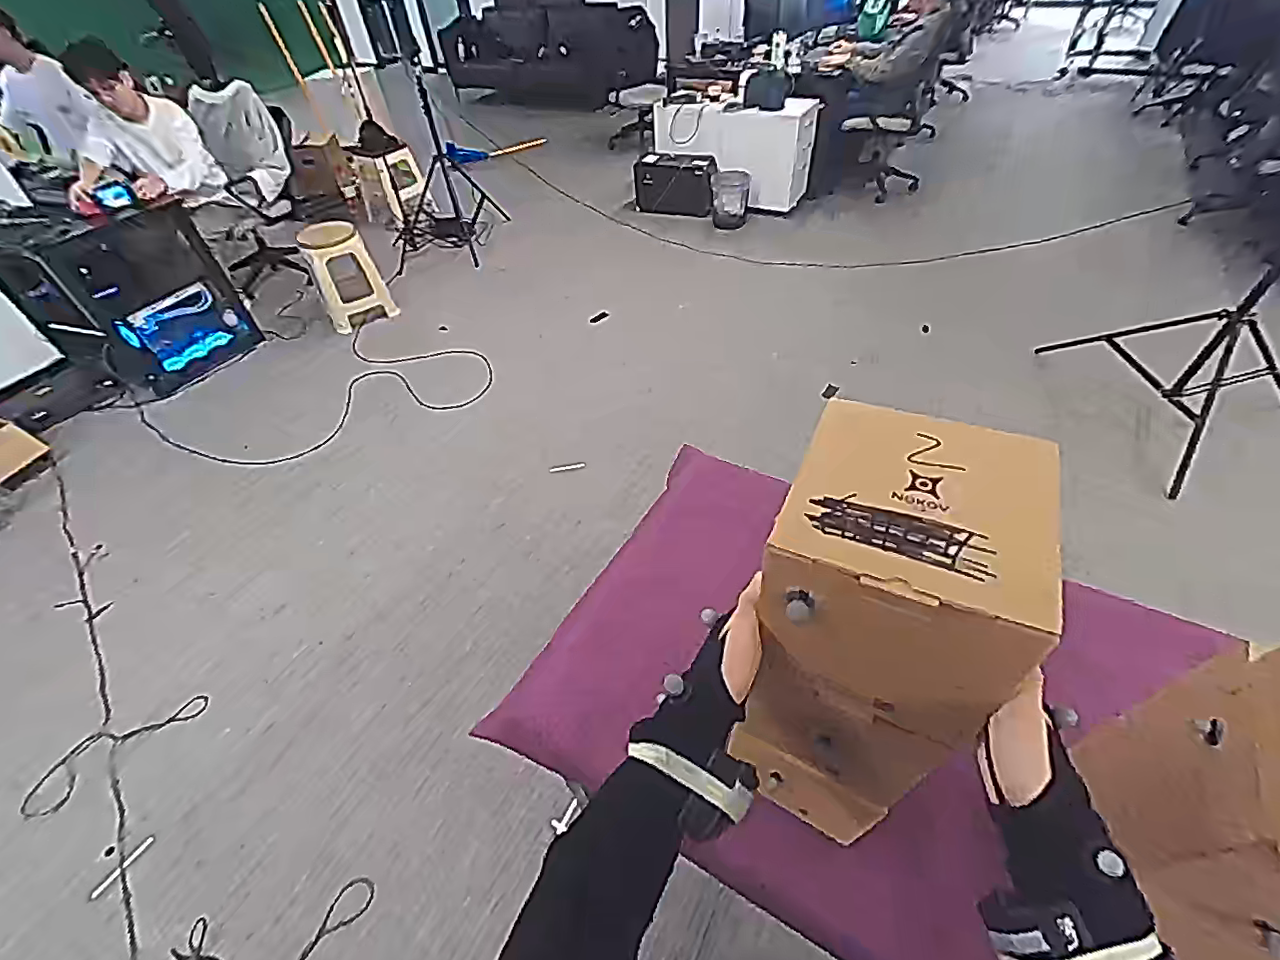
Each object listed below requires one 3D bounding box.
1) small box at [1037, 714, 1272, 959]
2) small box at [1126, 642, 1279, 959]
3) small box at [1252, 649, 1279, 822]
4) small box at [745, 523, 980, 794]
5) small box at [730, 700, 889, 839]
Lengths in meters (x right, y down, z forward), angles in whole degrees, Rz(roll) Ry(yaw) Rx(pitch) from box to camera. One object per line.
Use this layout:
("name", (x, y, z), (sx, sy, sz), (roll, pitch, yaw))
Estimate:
("small box", (0.547, 0.389, 0.558), (0.168, 0.176, 0.179), (25, 53, 24))
("small box", (0.543, 0.275, 0.440), (0.168, 0.176, 0.179), (24, 53, 24))
("small box", (0.525, 0.178, 0.309), (0.168, 0.176, 0.179), (22, 51, 22))
("small box", (0.215, 0.182, 0.553), (0.168, 0.176, 0.179), (21, 51, 21))
("small box", (0.220, 0.301, 0.666), (0.168, 0.176, 0.179), (23, 51, 23))
